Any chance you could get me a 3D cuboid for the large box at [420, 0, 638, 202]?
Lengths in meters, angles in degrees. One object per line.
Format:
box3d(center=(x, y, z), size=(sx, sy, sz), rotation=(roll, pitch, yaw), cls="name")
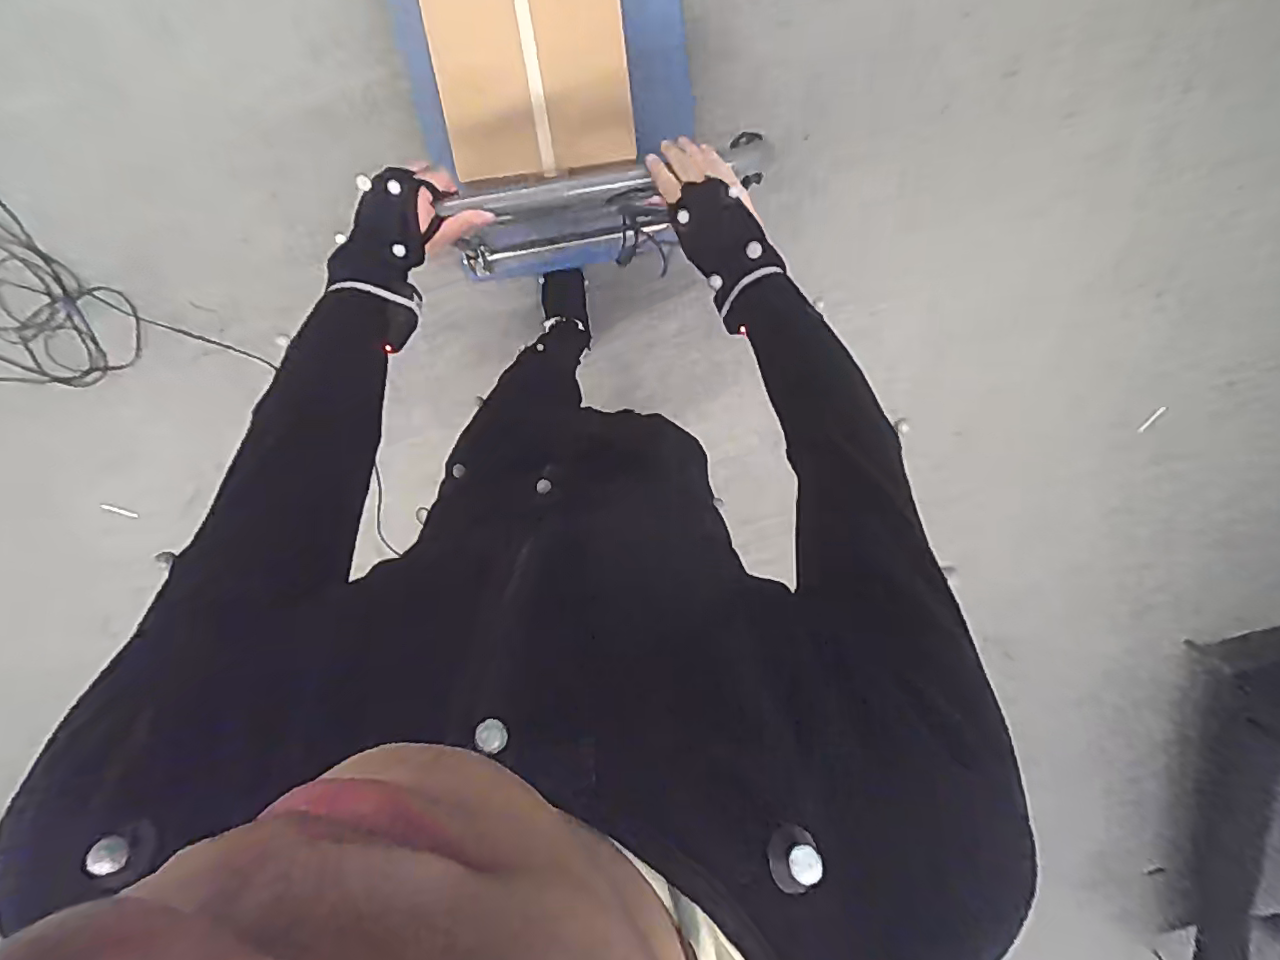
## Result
box3d(center=(-0.189, -0.768, 0.986), size=(0.320, 0.320, 0.408), rotation=(-8, 111, -2), cls="large box")
